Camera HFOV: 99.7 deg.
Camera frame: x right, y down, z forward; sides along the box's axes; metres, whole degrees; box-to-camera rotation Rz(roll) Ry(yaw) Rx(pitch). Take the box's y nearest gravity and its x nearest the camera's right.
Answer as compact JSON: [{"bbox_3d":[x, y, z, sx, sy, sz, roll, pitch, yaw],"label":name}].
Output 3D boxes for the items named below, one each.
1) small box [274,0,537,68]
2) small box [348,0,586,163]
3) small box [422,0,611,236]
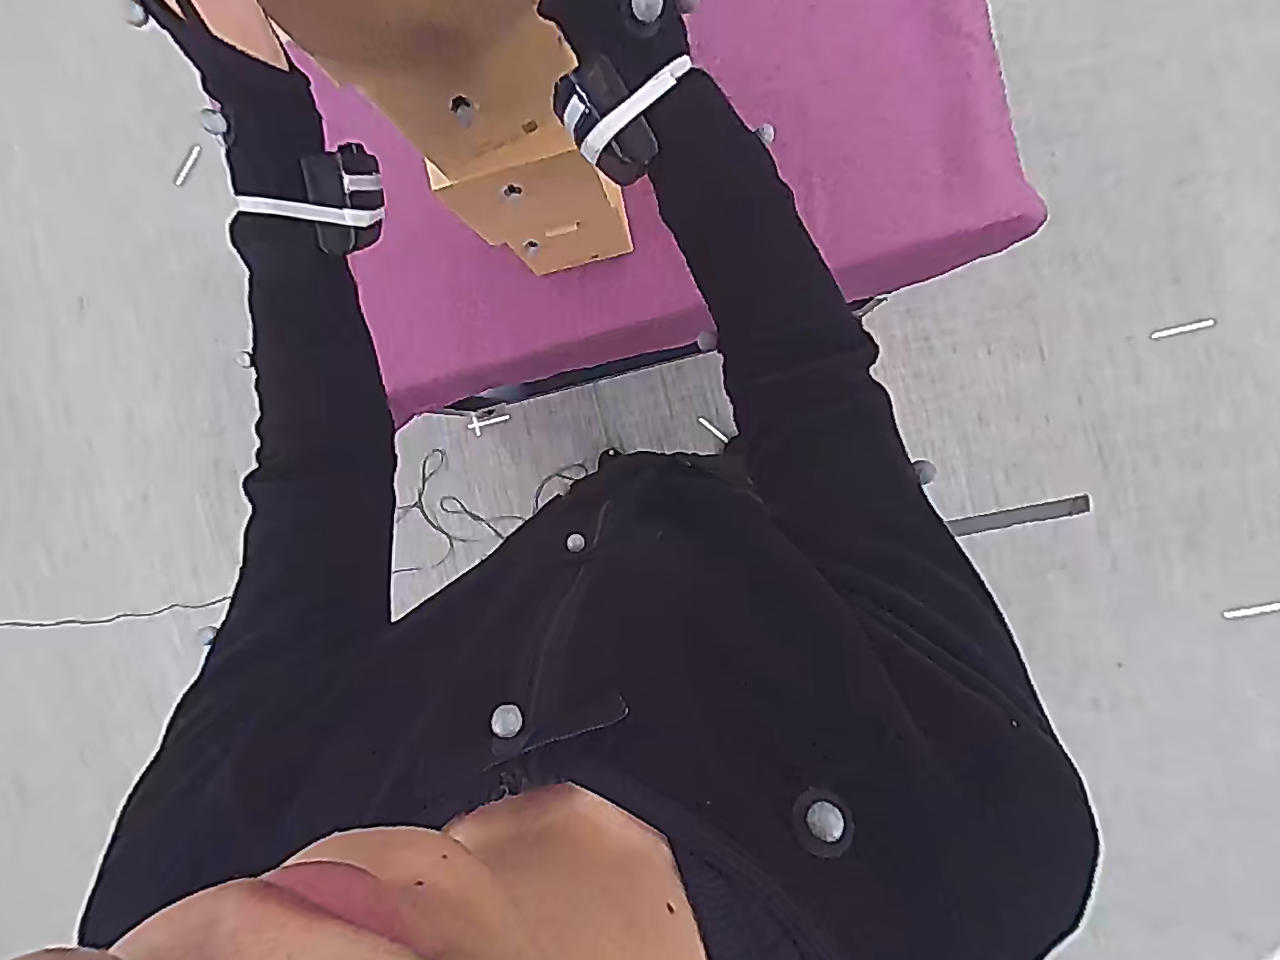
[{"bbox_3d":[-0.169,-0.390,0.311,0.179,0.176,0.168,-13,94,7],"label":"small box"},{"bbox_3d":[-0.161,-0.416,0.474,0.168,0.176,0.179,-19,91,8],"label":"small box"},{"bbox_3d":[-0.144,-0.411,0.636,0.179,0.176,0.168,-11,94,7],"label":"small box"}]
